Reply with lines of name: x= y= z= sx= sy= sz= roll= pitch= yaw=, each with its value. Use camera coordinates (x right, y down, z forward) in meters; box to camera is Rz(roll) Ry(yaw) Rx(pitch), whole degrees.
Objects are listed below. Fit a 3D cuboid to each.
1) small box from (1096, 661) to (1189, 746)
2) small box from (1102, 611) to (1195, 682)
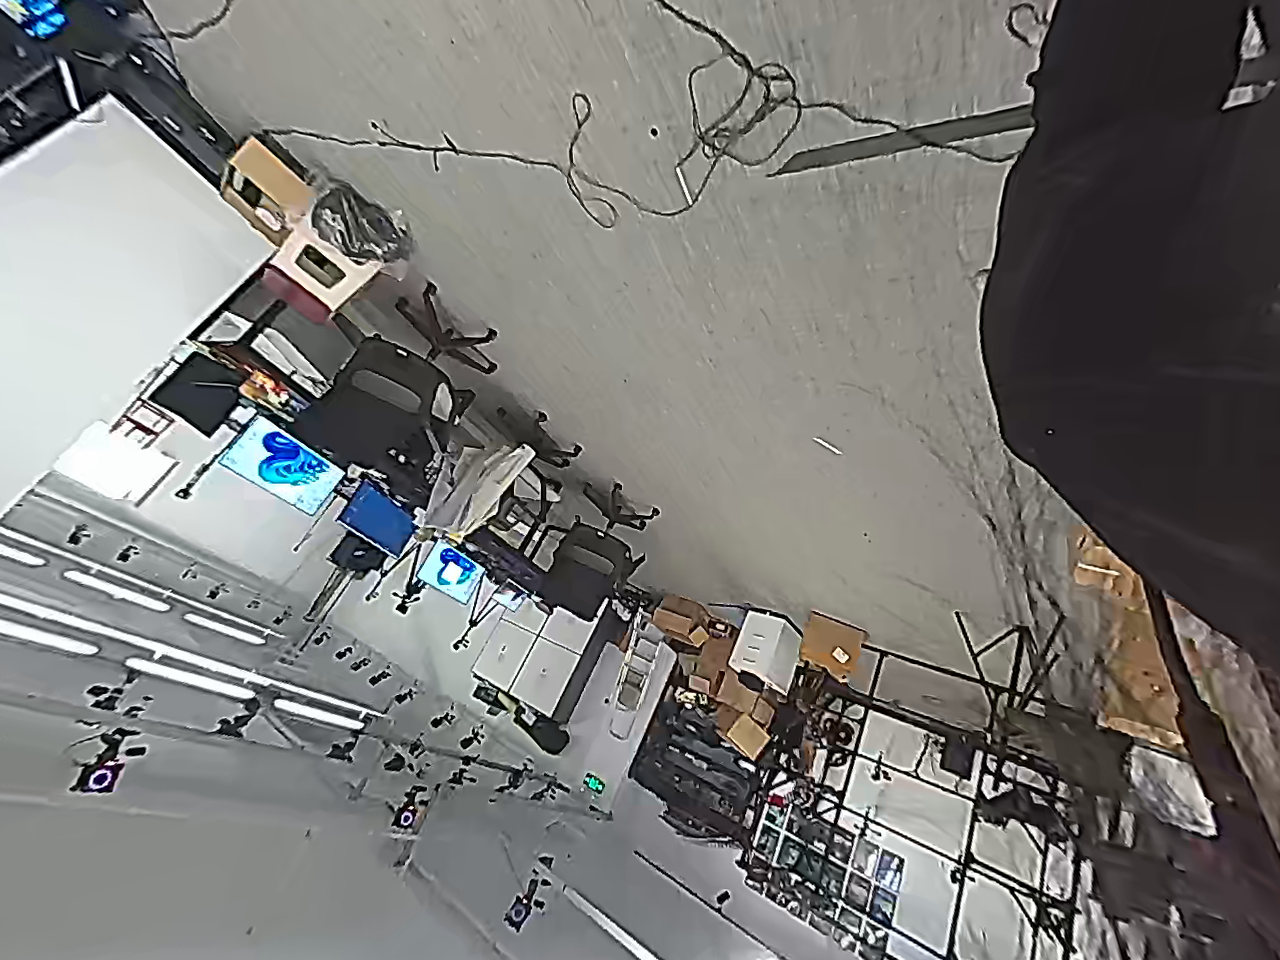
small box: x=1.504 y=0.666 z=1.619 sx=0.168 sy=0.176 sz=0.179 roll=13 pitch=155 yaw=31
small box: x=1.567 y=0.522 z=1.670 sx=0.179 sy=0.176 sz=0.168 roll=11 pitch=155 yaw=33
